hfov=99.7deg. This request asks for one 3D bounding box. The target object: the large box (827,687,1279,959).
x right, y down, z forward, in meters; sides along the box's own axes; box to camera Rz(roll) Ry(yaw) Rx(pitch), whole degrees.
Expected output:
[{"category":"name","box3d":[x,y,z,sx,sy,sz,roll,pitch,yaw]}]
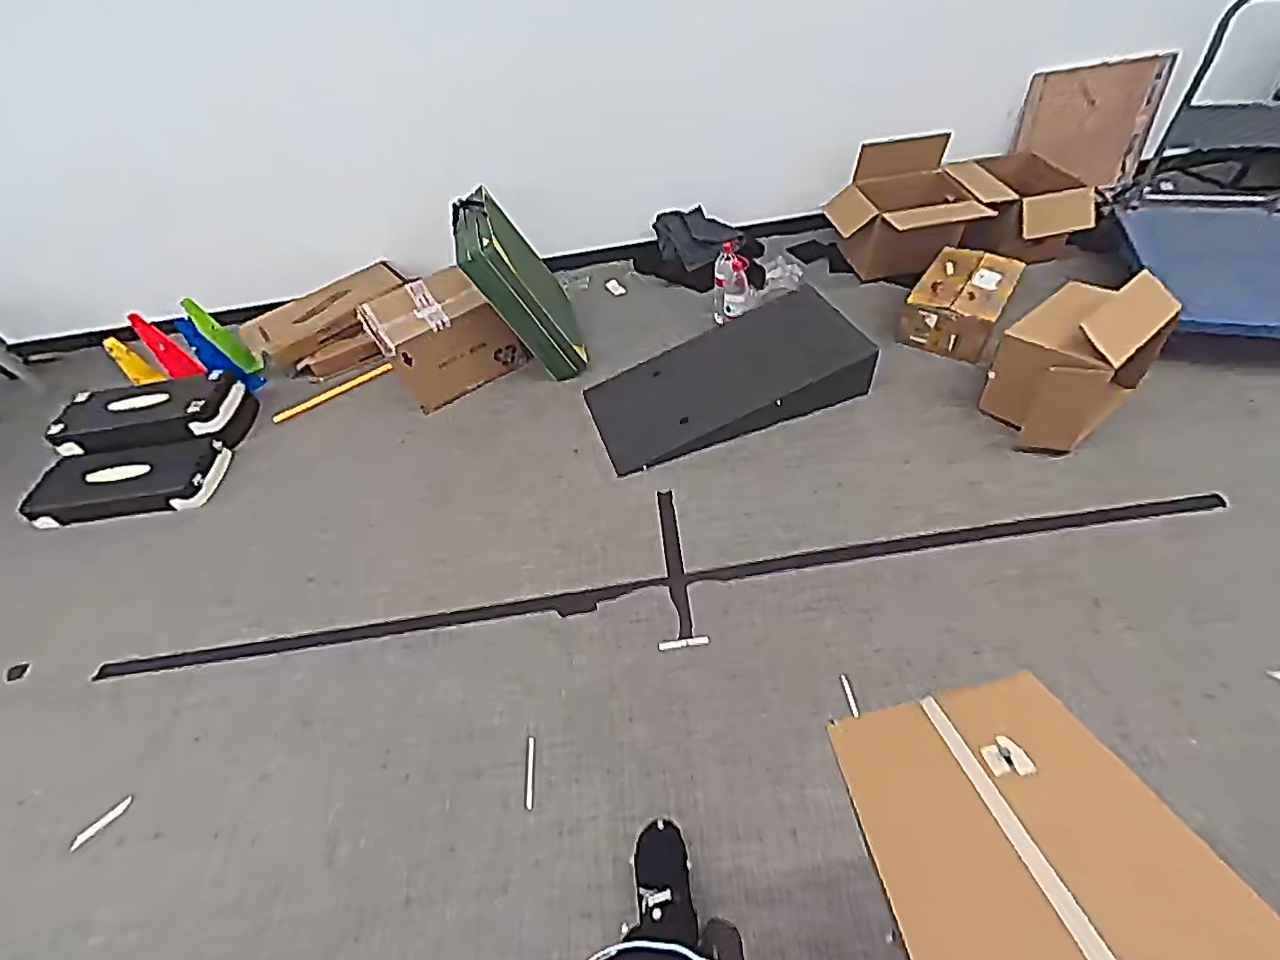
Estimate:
[{"category":"large box","box3d":[0.479,0.544,0.680,0.320,0.320,0.408,-17,12,8]}]
